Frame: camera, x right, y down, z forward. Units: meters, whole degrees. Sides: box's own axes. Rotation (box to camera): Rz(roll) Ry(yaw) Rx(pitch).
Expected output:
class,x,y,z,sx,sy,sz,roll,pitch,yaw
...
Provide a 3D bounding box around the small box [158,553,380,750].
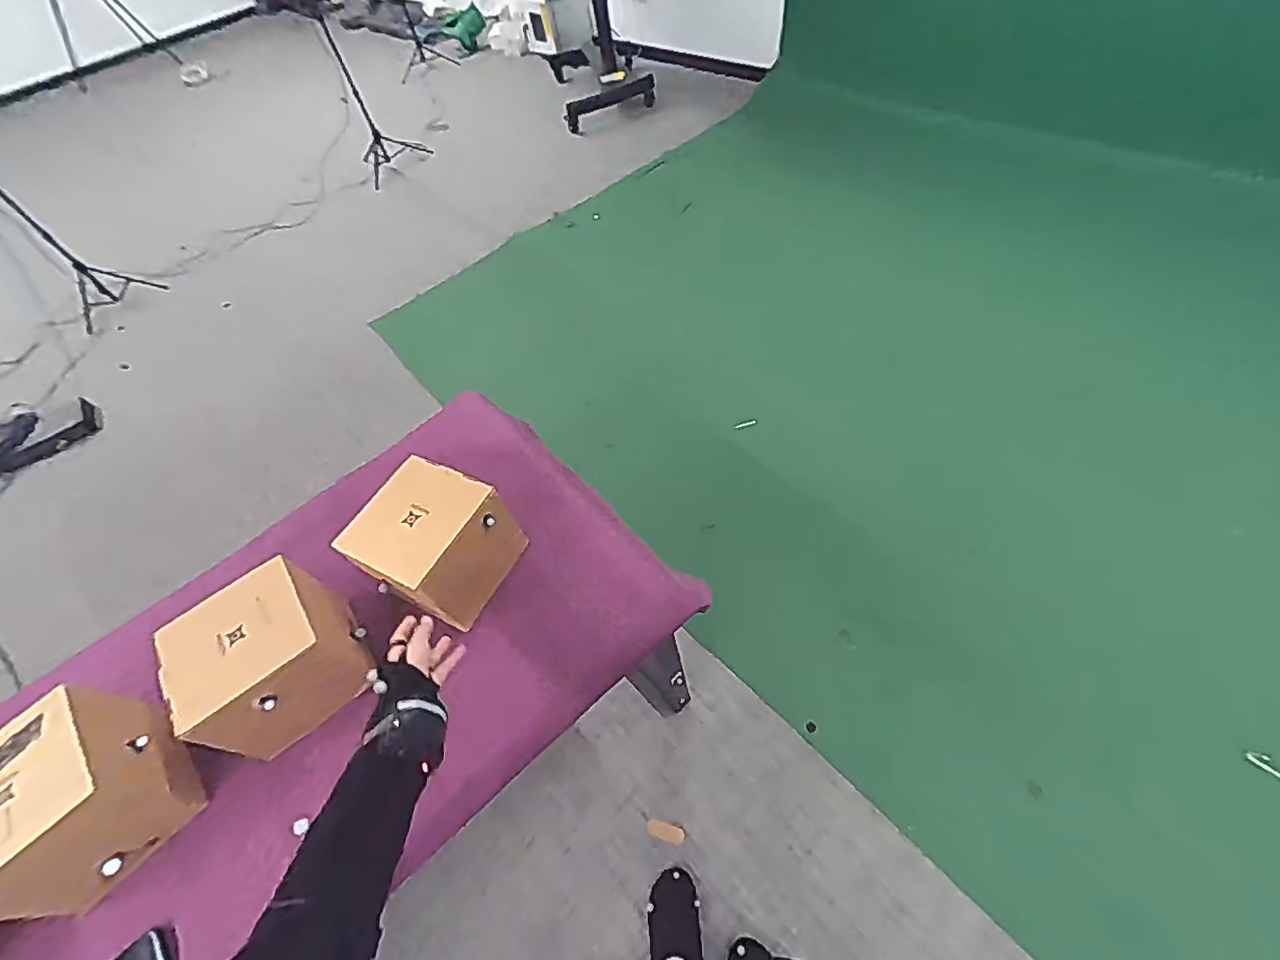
class,x,y,z,sx,sy,sz,roll,pitch,yaw
small box,-0.505,0.243,0.753,0.179,0.176,0.168,-35,57,-17

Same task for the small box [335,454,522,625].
class,x,y,z,sx,sy,sz,roll,pitch,yaw
small box,-0.307,0.095,0.827,0.168,0.176,0.179,19,59,22

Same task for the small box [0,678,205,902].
class,x,y,z,sx,sy,sz,roll,pitch,yaw
small box,-0.706,0.389,0.677,0.179,0.176,0.168,37,67,29
